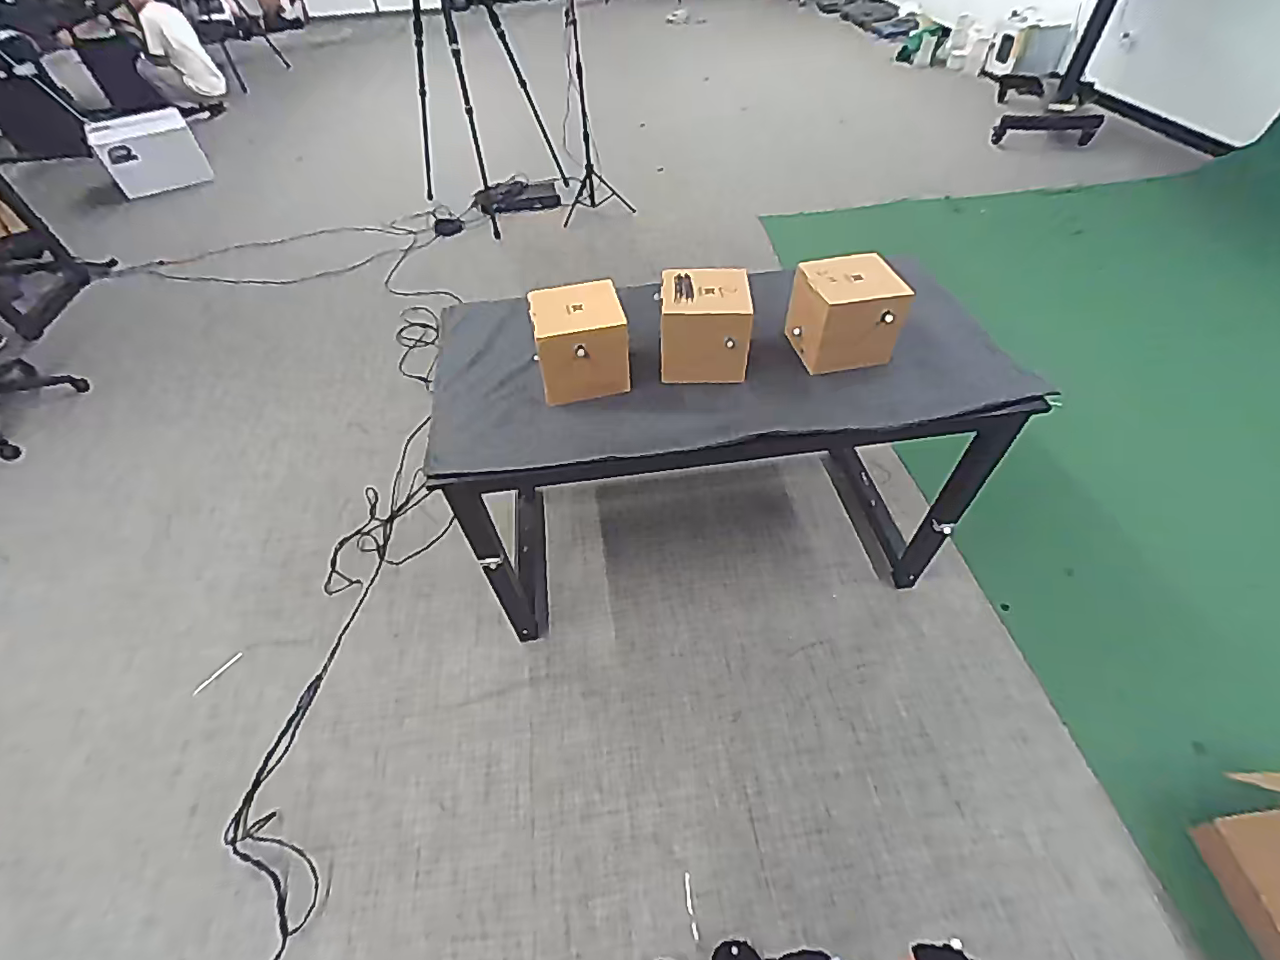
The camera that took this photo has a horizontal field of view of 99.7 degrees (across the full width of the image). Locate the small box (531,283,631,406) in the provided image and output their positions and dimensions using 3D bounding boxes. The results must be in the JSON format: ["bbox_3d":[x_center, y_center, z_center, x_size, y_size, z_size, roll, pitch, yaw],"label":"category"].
[{"bbox_3d":[-0.117,-0.277,1.112,0.179,0.176,0.168,-12,50,-6],"label":"small box"}]

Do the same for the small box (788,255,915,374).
[{"bbox_3d":[0.431,-0.345,1.136,0.179,0.176,0.168,-9,49,-5],"label":"small box"}]
